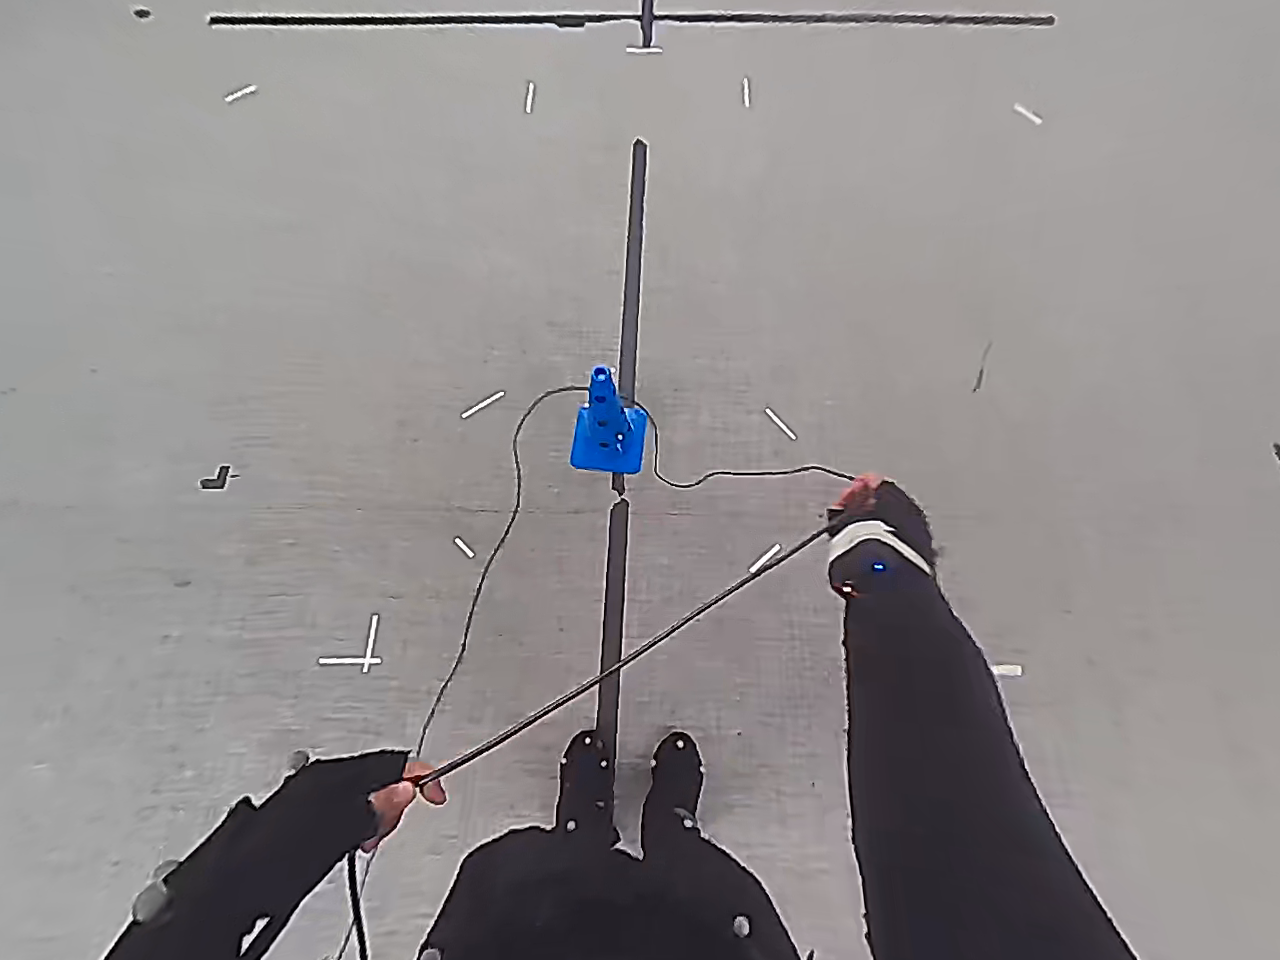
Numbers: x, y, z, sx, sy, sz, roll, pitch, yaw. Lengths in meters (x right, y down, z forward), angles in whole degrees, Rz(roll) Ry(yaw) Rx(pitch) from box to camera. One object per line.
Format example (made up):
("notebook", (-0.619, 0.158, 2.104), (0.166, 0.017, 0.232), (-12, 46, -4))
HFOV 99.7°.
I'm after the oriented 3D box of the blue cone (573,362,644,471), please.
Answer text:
("blue cone", (-0.090, -0.172, 1.350), (0.193, 0.380, 0.192), (5, 70, 3))
